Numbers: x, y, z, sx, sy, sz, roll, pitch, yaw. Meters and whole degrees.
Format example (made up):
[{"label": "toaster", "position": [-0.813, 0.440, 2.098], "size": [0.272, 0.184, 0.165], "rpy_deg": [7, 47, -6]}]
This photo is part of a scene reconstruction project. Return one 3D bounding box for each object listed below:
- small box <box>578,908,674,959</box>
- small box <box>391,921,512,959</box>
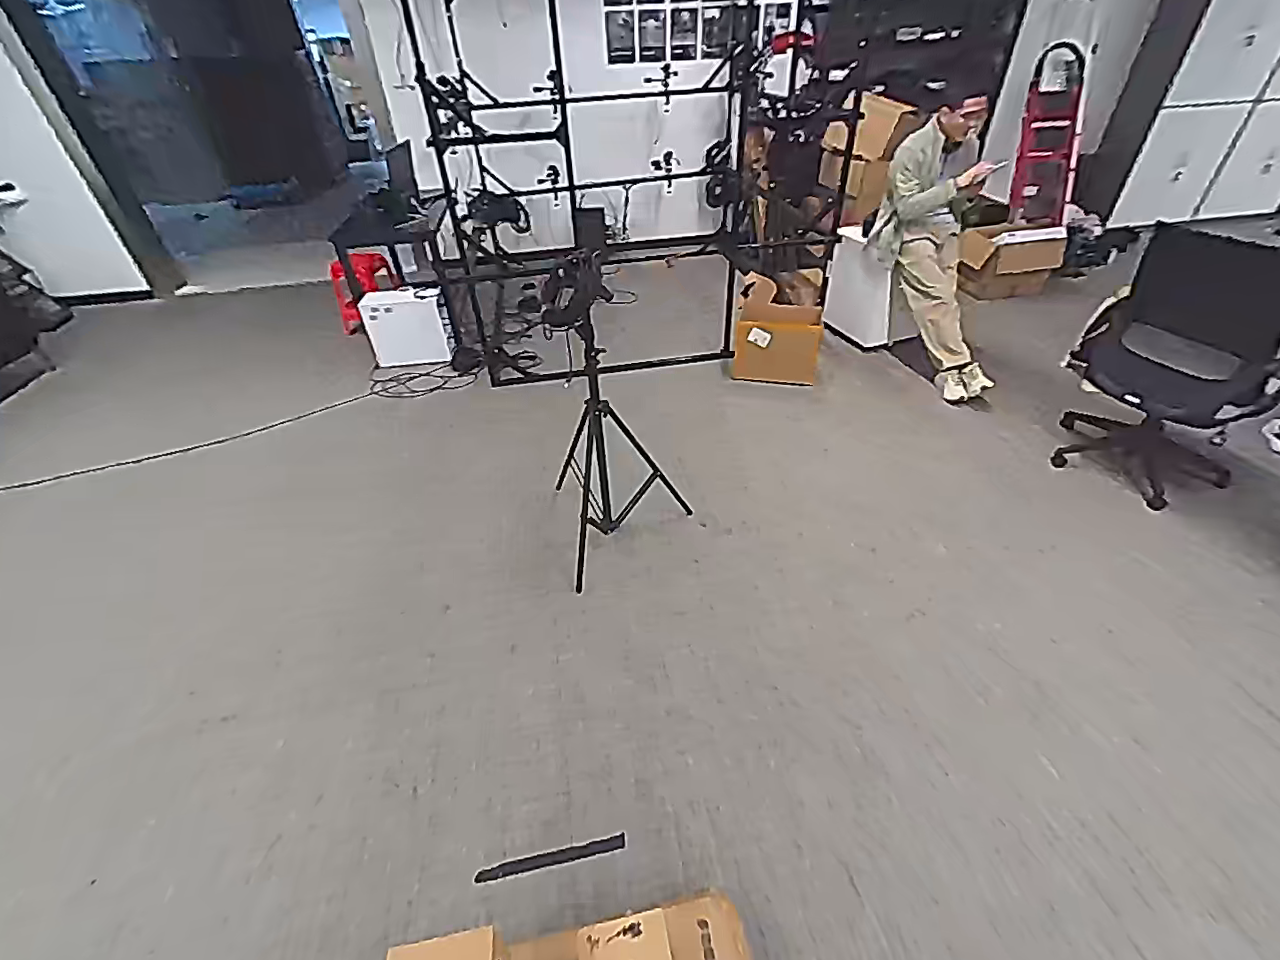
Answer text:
[{"label": "small box", "position": [-0.015, 0.929, 0.994], "size": [0.168, 0.176, 0.179], "rpy_deg": [-10, 39, -5]}, {"label": "small box", "position": [-0.297, 0.843, 0.853], "size": [0.168, 0.176, 0.179], "rpy_deg": [-8, 39, -6]}]
